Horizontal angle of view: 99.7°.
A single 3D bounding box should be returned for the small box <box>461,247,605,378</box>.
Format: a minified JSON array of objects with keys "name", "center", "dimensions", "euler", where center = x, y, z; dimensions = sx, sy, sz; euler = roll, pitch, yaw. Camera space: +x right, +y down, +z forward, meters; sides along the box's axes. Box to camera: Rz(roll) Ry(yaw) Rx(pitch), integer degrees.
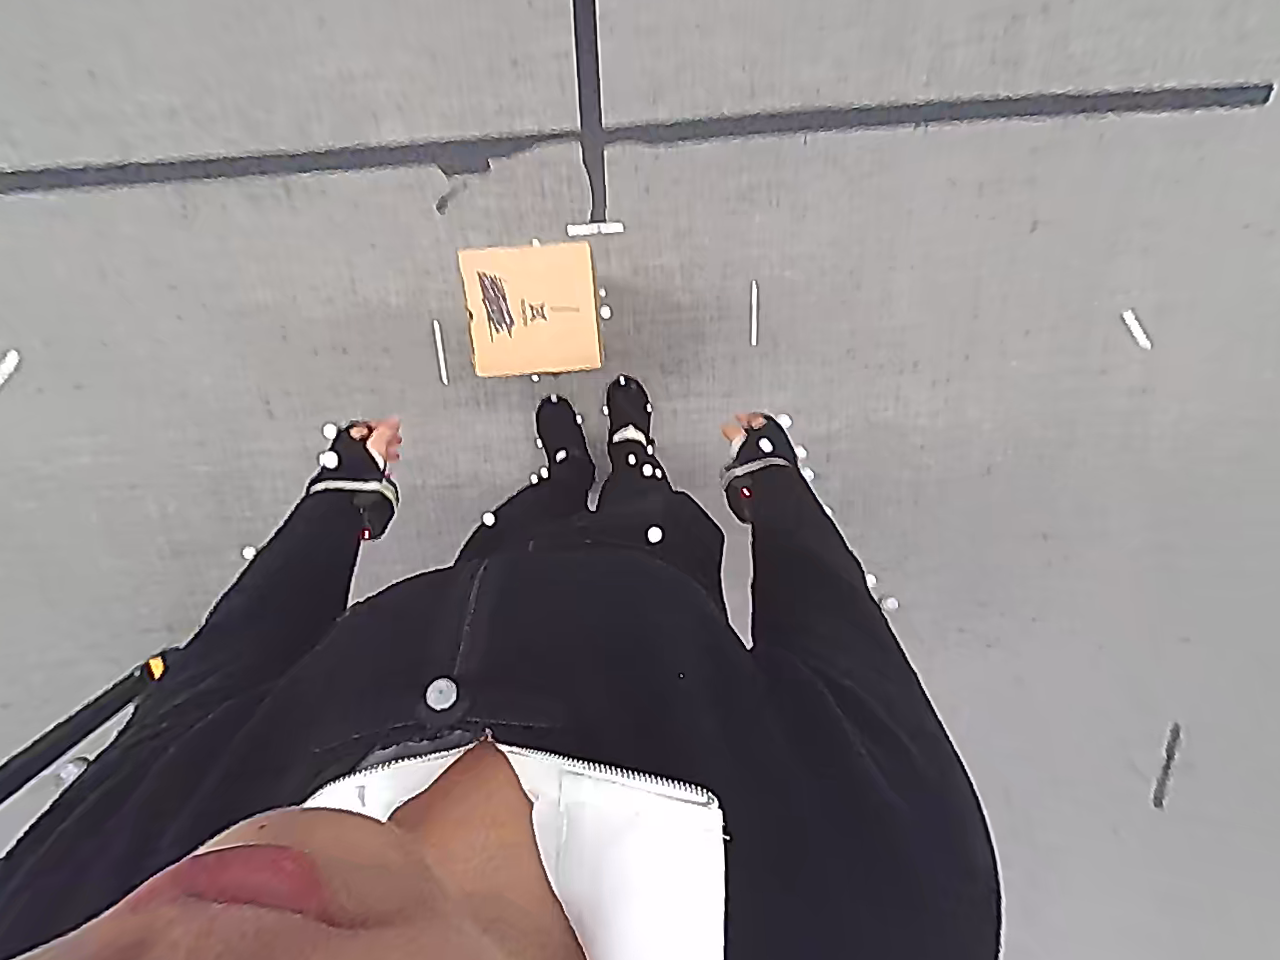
[{"name":"small box","center":[-0.147,-0.245,0.807],"dimensions":[0.179,0.176,0.168],"euler":[-4,107,-1]}]
